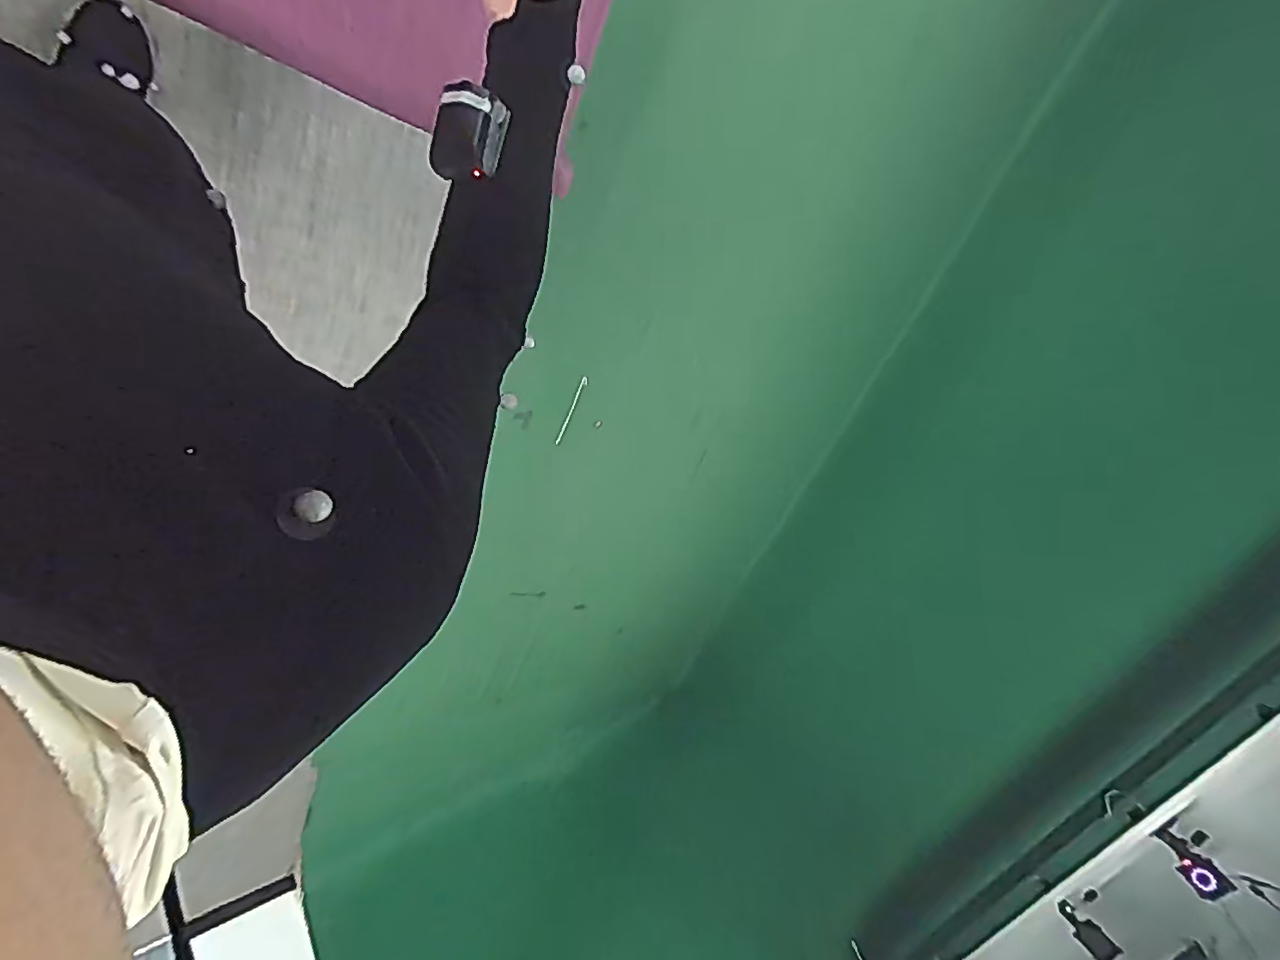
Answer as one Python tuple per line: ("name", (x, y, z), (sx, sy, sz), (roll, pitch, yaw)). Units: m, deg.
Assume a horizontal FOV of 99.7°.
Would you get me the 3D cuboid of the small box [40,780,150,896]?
("small box", (-1.444, 0.936, 1.433), (0.179, 0.176, 0.168), (13, 114, -51))
